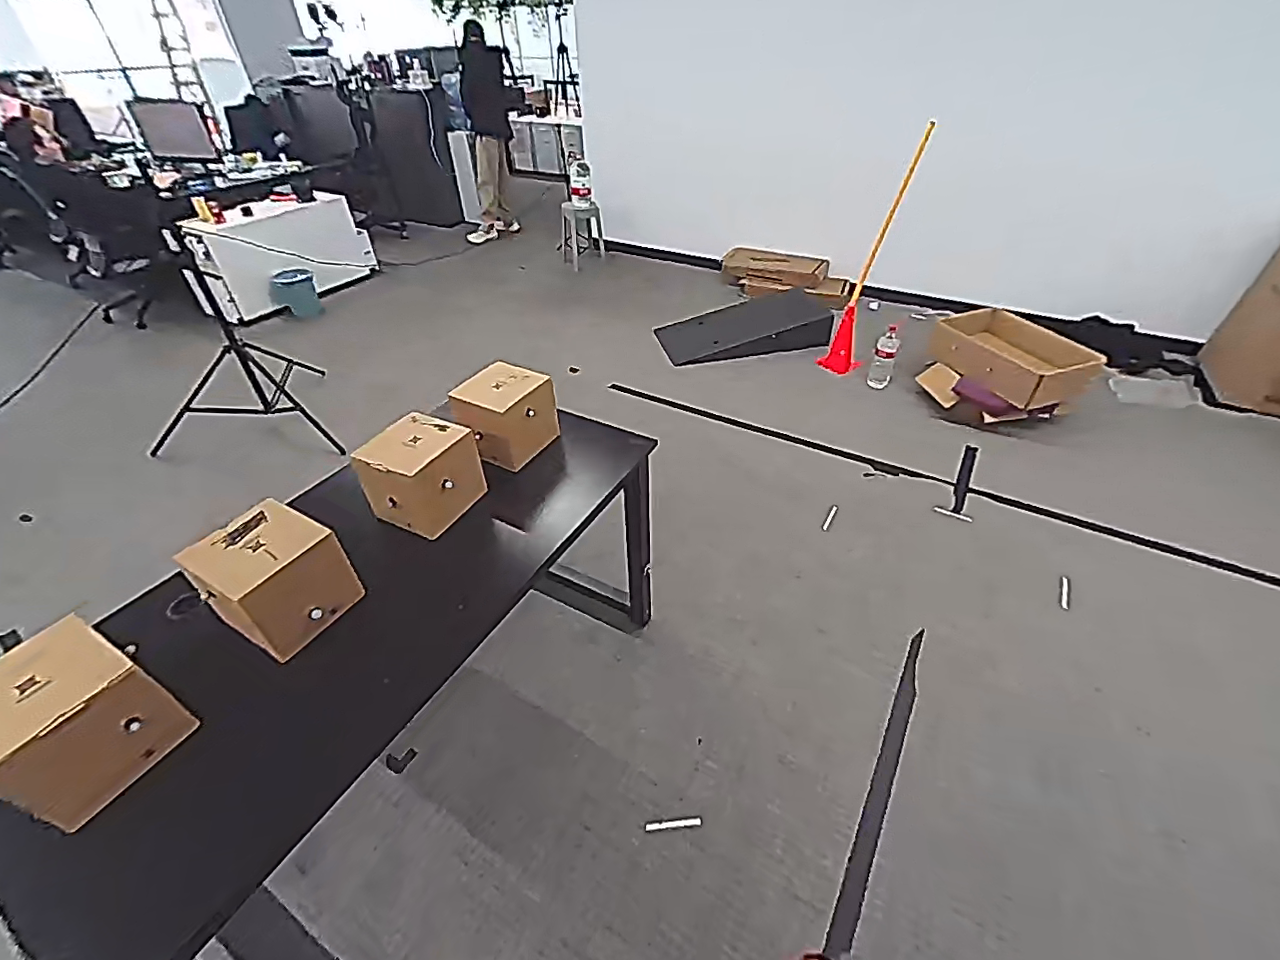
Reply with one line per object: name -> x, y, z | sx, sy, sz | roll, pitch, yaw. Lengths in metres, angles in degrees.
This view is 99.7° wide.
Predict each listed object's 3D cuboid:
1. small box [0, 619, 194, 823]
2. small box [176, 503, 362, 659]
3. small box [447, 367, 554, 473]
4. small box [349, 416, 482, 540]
small box -> -0.774, 0.331, 0.739 | 0.179, 0.176, 0.168 | 18, 42, 23
small box -> -0.621, 0.172, 0.924 | 0.179, 0.176, 0.168 | 20, 44, 22
small box -> -0.322, -0.143, 1.292 | 0.168, 0.176, 0.179 | 20, 45, 23
small box -> -0.455, -0.003, 1.131 | 0.168, 0.176, 0.179 | 17, 44, 20
